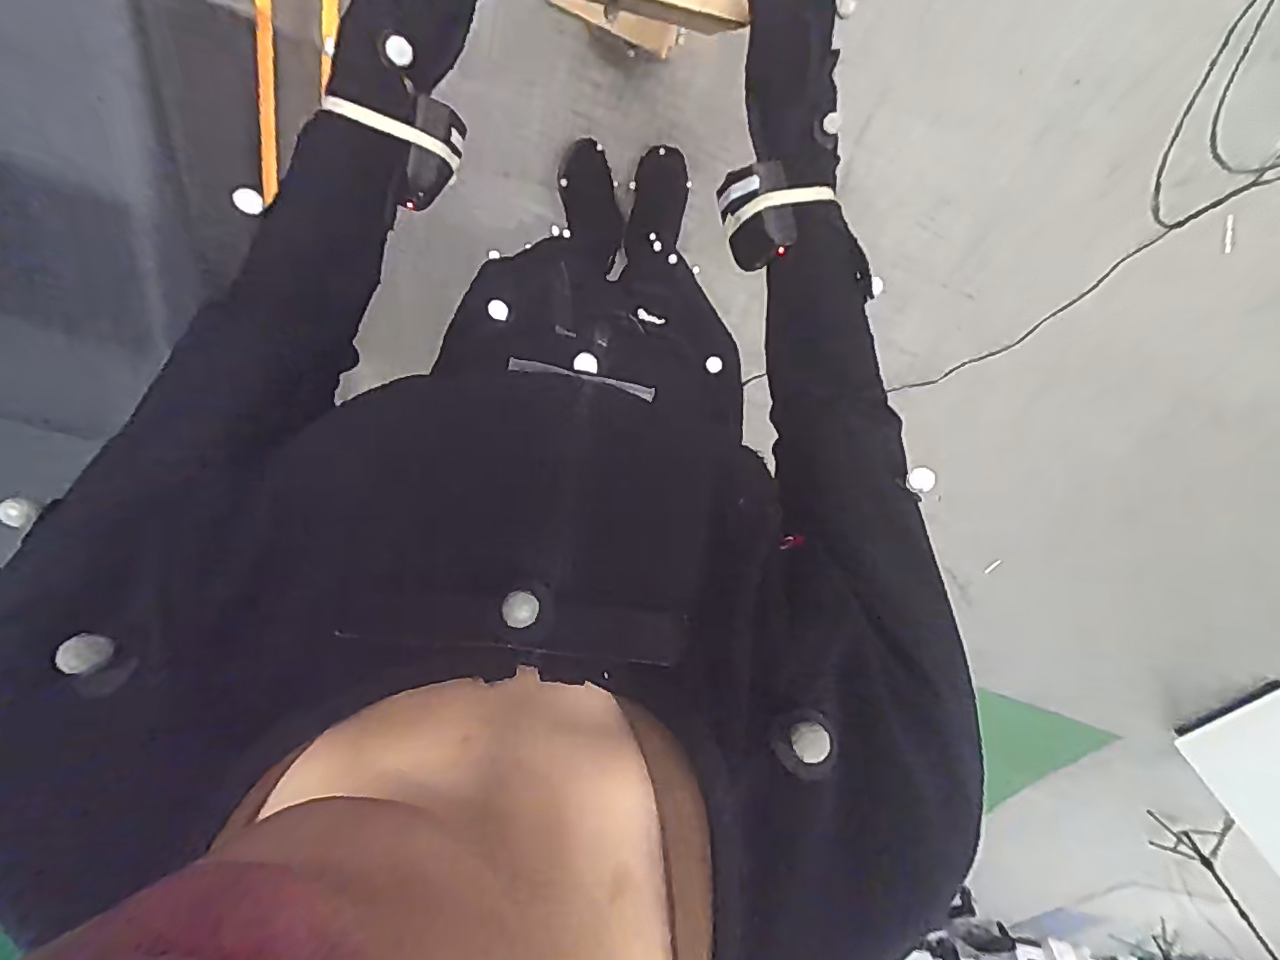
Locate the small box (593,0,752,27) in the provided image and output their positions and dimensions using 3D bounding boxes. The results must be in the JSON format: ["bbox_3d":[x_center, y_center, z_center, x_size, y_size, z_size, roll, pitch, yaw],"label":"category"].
[{"bbox_3d":[0.002,-0.440,0.376,0.179,0.176,0.168,7,129,-10],"label":"small box"}]

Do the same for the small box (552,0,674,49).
[{"bbox_3d":[-0.022,-0.672,0.680,0.179,0.176,0.168,18,126,-11],"label":"small box"}]
